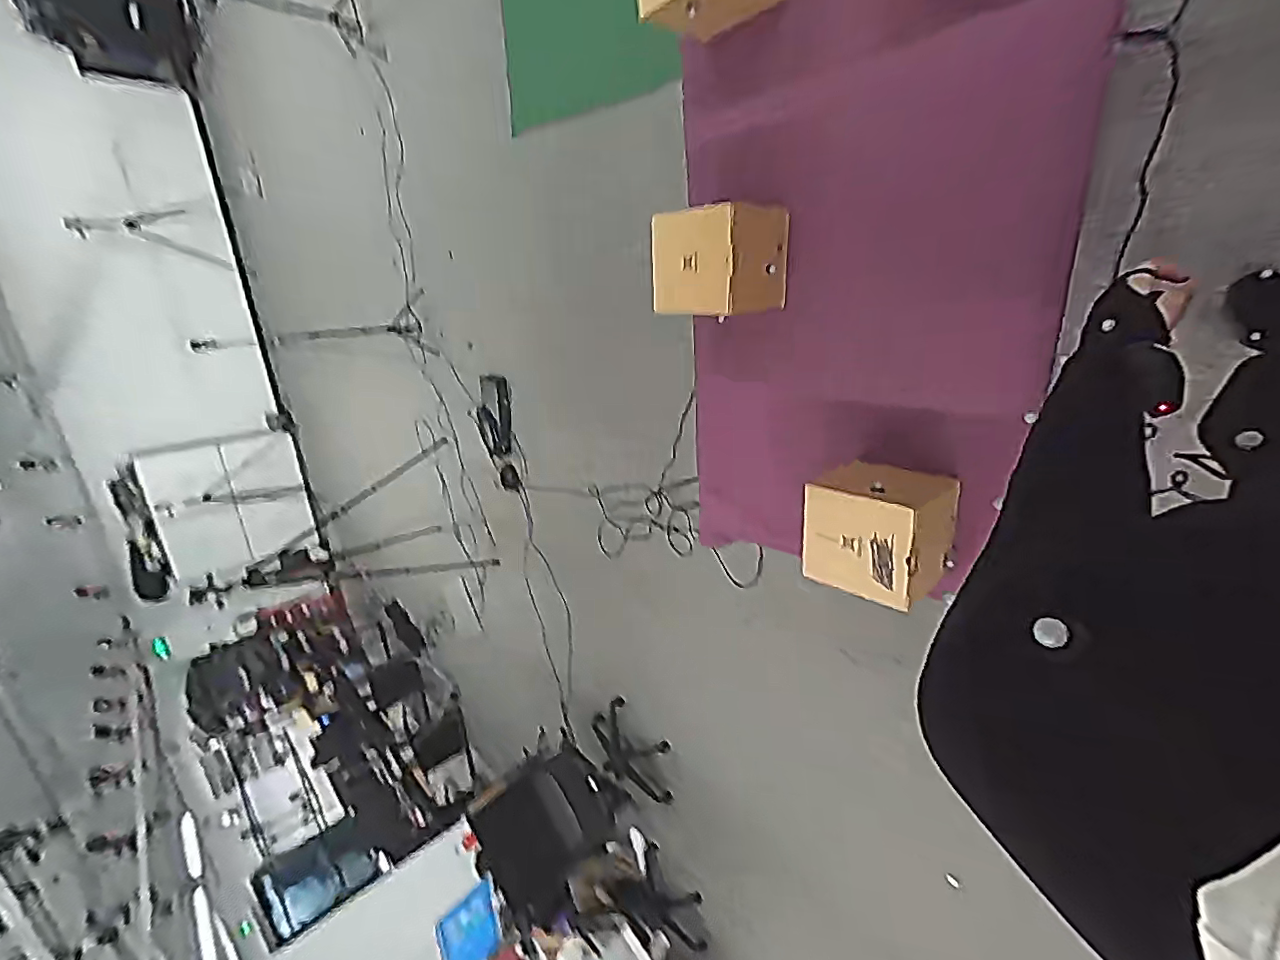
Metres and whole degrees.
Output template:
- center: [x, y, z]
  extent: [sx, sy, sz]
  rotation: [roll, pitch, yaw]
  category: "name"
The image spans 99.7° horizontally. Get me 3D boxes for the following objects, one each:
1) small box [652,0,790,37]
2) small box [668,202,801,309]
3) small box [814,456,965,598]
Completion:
- center: [0.131, -0.834, 0.846]
  extent: [0.179, 0.176, 0.168]
  rotation: [14, 119, 46]
  category: "small box"
- center: [0.170, -0.404, 0.994]
  extent: [0.179, 0.176, 0.168]
  rotation: [17, 118, 43]
  category: "small box"
- center: [0.414, 0.065, 0.900]
  extent: [0.179, 0.176, 0.168]
  rotation: [17, 118, 47]
  category: "small box"
